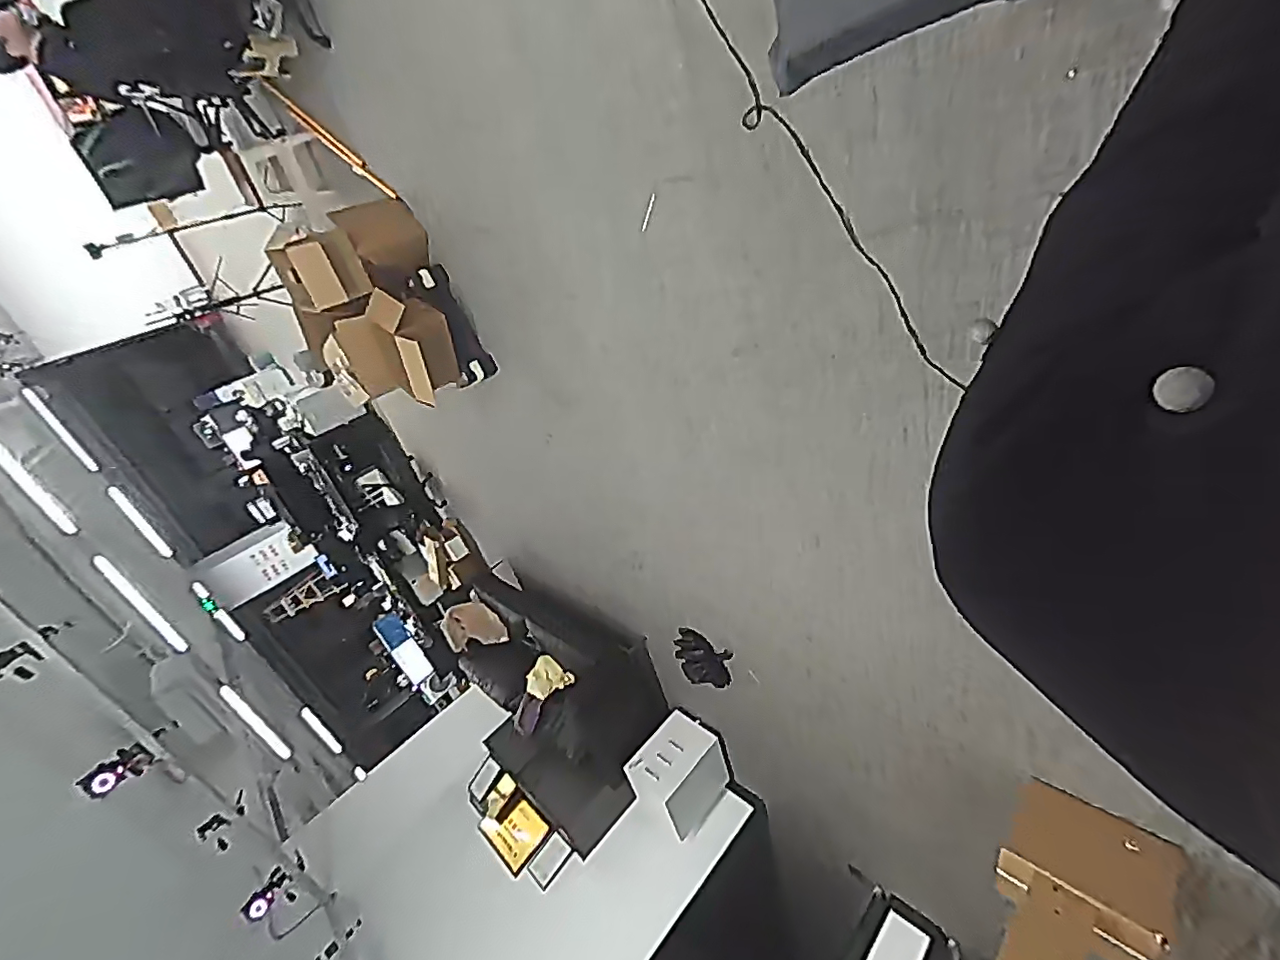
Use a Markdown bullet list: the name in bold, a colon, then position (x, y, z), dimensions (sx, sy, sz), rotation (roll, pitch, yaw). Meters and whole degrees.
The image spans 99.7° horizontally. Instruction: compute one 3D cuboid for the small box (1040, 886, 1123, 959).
- **small box**: position (1.334, 1.396, 1.645), dimensions (0.168, 0.176, 0.179), rotation (19, 134, 45)
